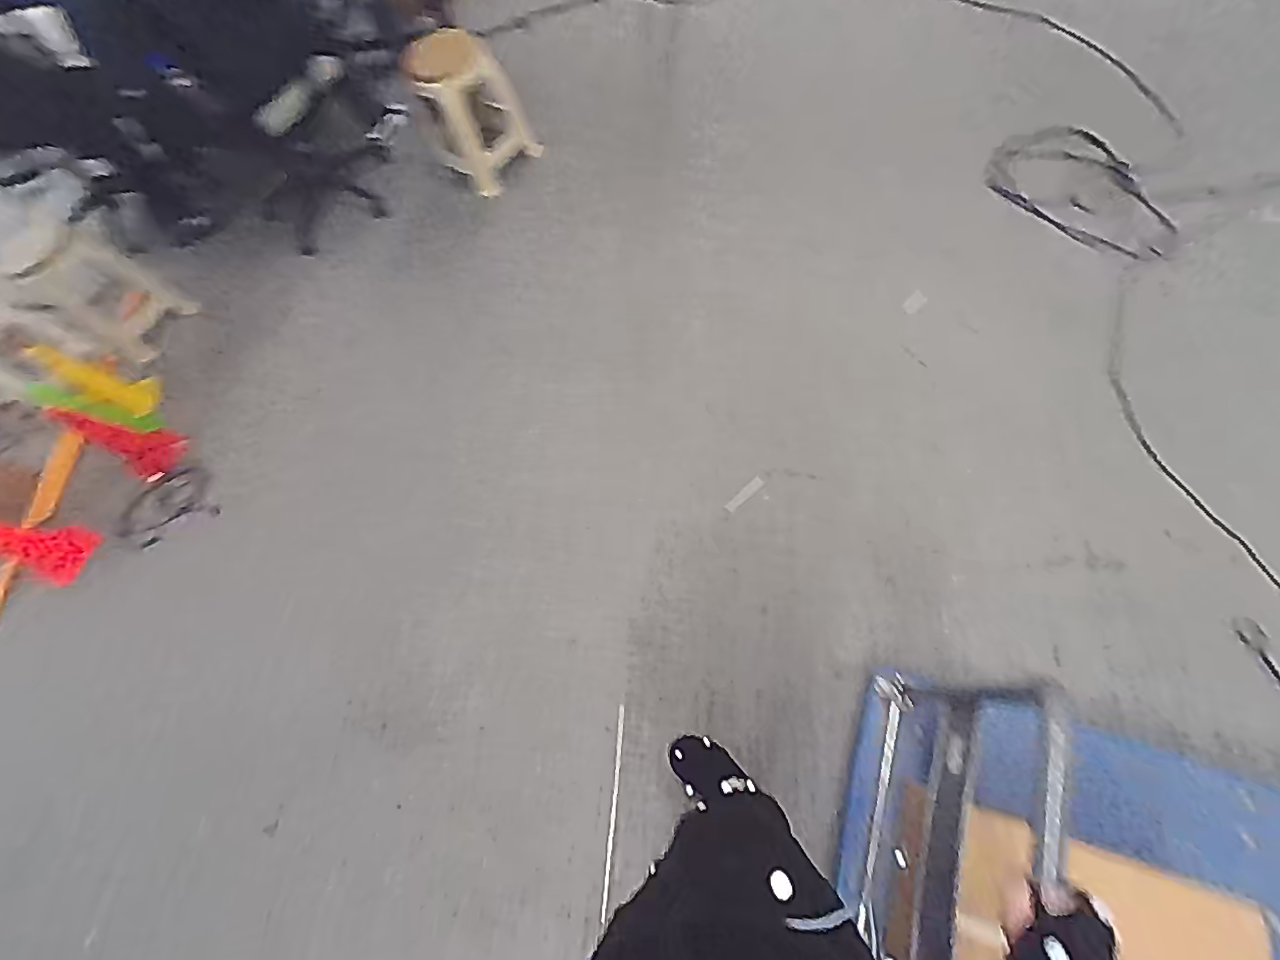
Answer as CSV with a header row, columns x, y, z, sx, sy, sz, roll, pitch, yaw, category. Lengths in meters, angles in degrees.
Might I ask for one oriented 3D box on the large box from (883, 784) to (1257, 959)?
x,y,z,sx,sy,sz,roll,pitch,yaw,category
0.673,0.756,0.914,0.408,0.320,0.320,13,71,15,large box
